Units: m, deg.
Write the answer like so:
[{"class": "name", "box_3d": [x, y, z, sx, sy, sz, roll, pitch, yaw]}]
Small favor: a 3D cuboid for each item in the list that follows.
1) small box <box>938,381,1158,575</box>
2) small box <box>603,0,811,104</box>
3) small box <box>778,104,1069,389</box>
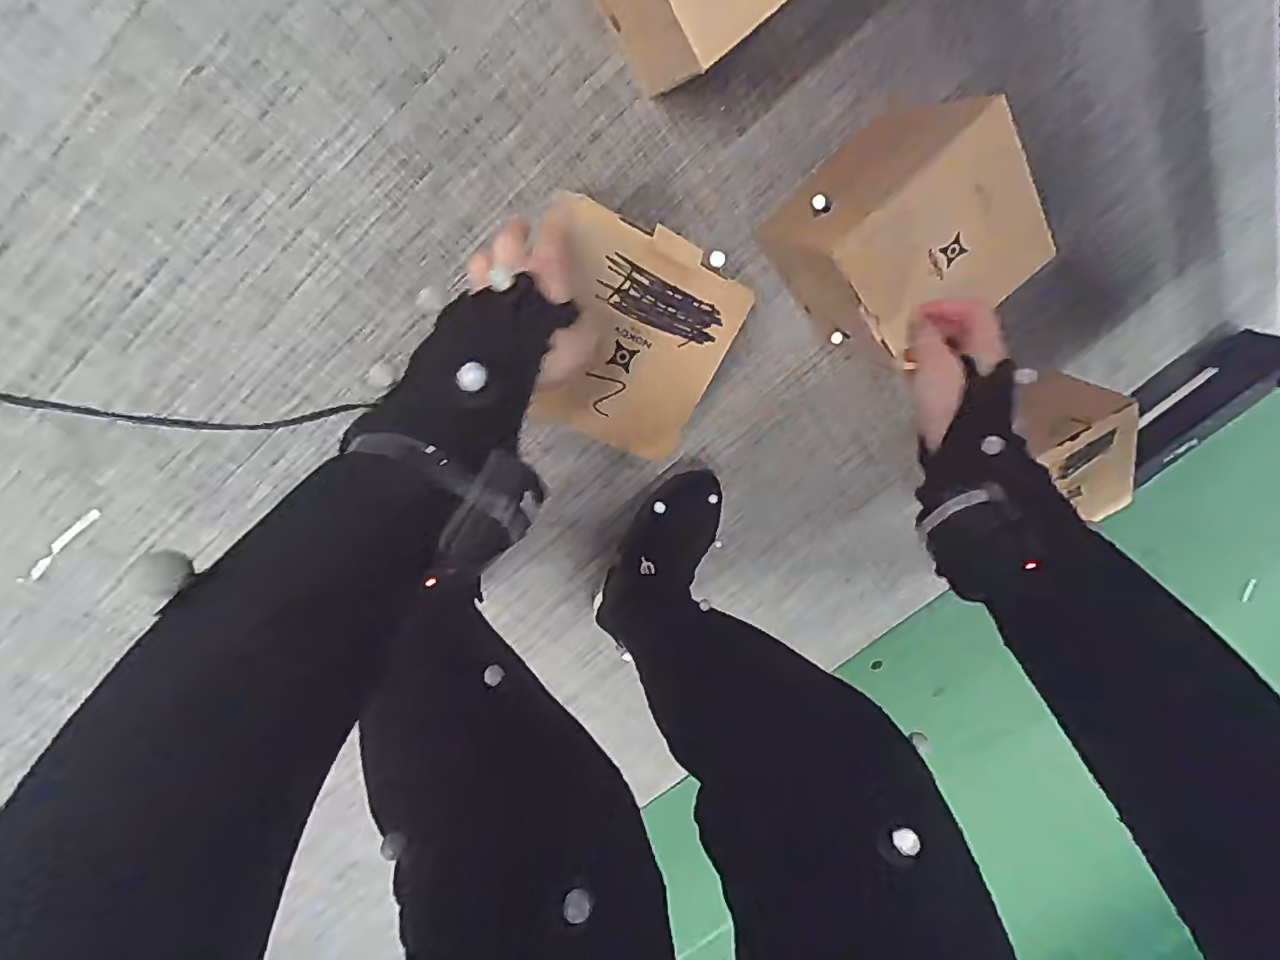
[{"class": "small box", "box_3d": [0.532, -0.014, 0.726, 0.168, 0.176, 0.179, -29, 123, 3]}, {"class": "small box", "box_3d": [0.055, -0.414, 0.392, 0.179, 0.176, 0.168, -37, 120, 7]}, {"class": "small box", "box_3d": [0.265, -0.228, 0.544, 0.179, 0.176, 0.168, -43, 120, 10]}]
